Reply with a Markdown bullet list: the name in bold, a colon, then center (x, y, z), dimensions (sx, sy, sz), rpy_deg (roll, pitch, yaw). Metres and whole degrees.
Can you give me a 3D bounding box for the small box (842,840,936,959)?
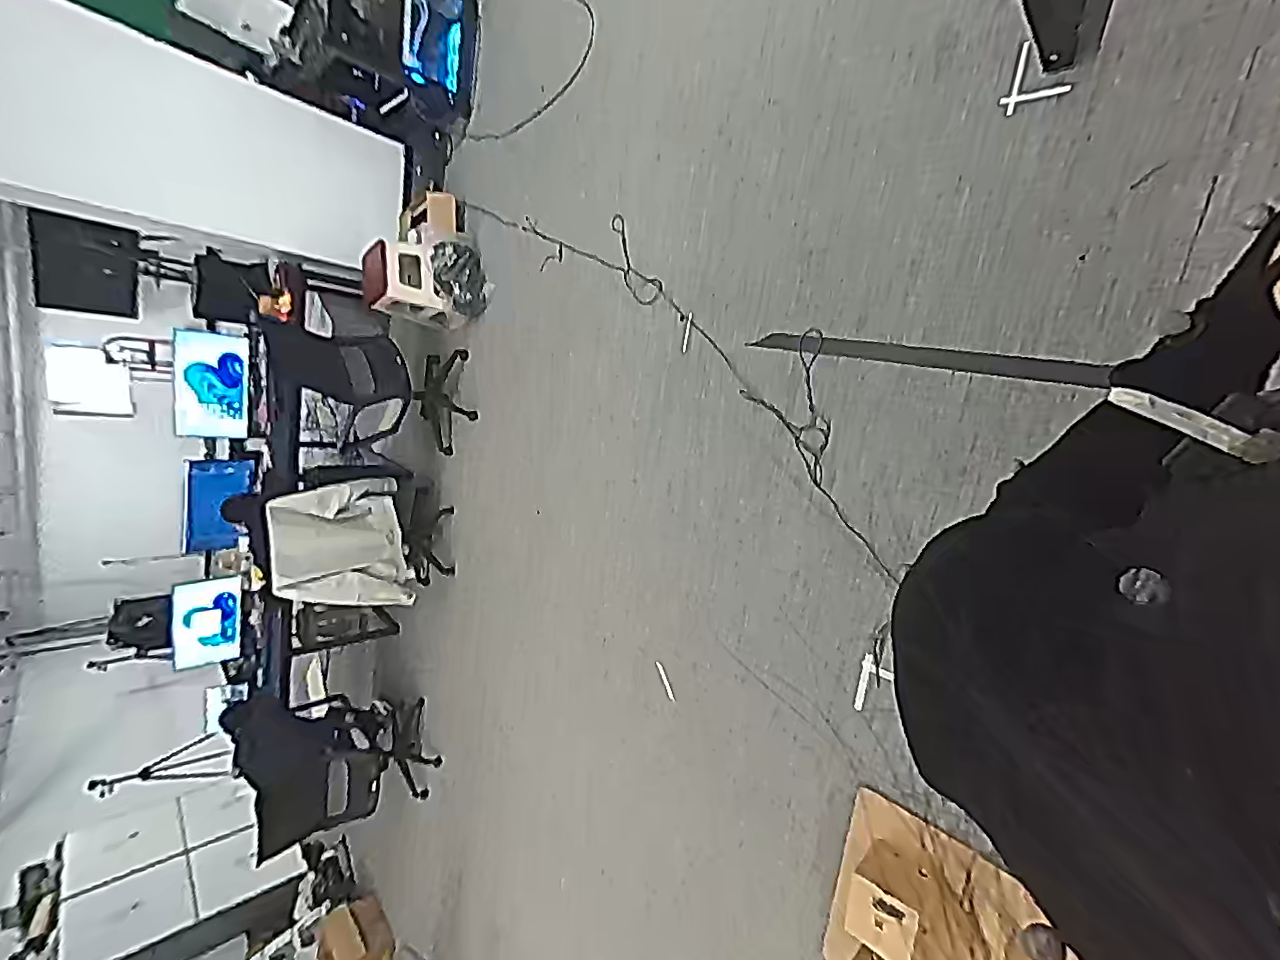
- **small box**: center (0.652, 1.096, 1.410), dimensions (0.168, 0.176, 0.179), rpy_deg (13, 101, 44)
